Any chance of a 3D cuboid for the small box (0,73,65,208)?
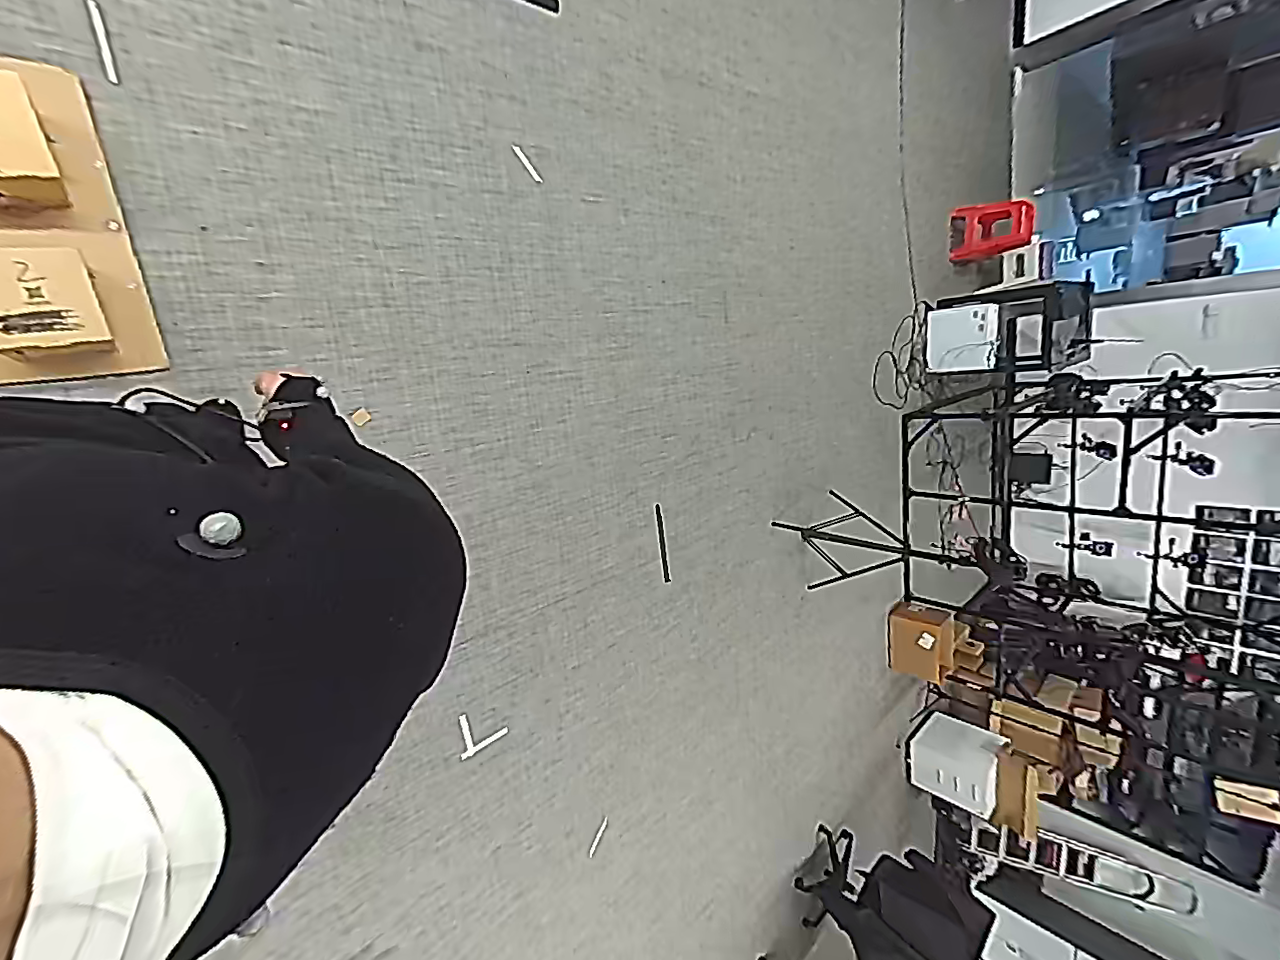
[{"bbox_3d":[-1.201,-0.615,0.983,0.168,0.176,0.179,-23,109,-38],"label":"small box"}]
